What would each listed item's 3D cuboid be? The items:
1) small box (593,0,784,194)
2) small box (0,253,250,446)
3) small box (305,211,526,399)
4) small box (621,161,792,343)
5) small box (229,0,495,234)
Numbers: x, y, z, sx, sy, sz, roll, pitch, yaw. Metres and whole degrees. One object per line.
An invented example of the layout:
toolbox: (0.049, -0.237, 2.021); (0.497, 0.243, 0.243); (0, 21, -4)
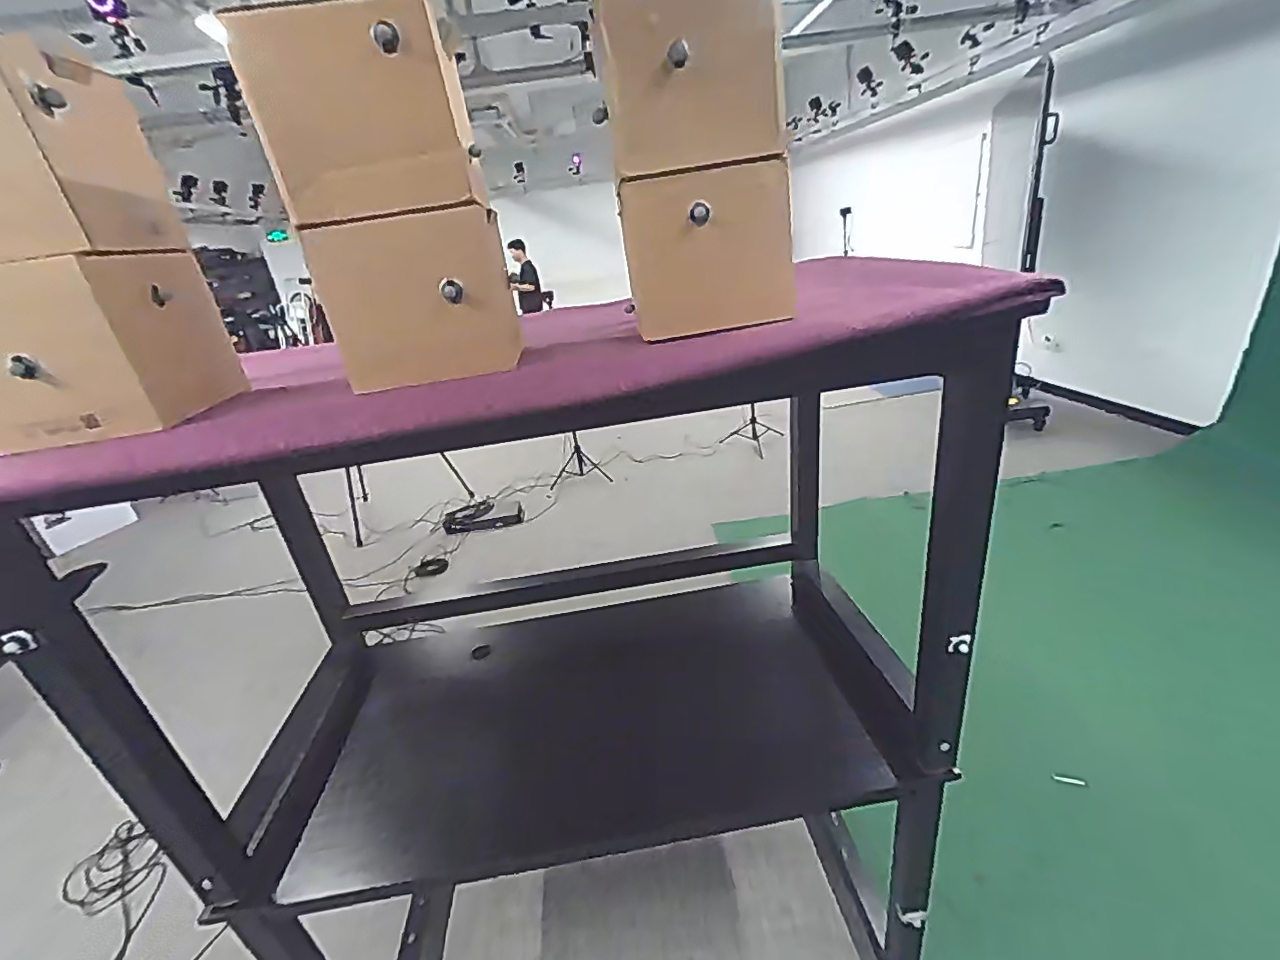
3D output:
small box: (0.051, -0.422, 0.608); (0.179, 0.176, 0.168); (-10, 22, 0)
small box: (-0.571, -0.142, 0.585); (0.168, 0.176, 0.179); (-9, 24, -5)
small box: (-0.237, -0.205, 0.630); (0.179, 0.176, 0.168); (-11, 23, -3)
small box: (0.077, -0.271, 0.668); (0.179, 0.176, 0.168); (-9, 21, -1)
small box: (-0.265, -0.353, 0.567); (0.179, 0.176, 0.168); (-10, 23, -5)
